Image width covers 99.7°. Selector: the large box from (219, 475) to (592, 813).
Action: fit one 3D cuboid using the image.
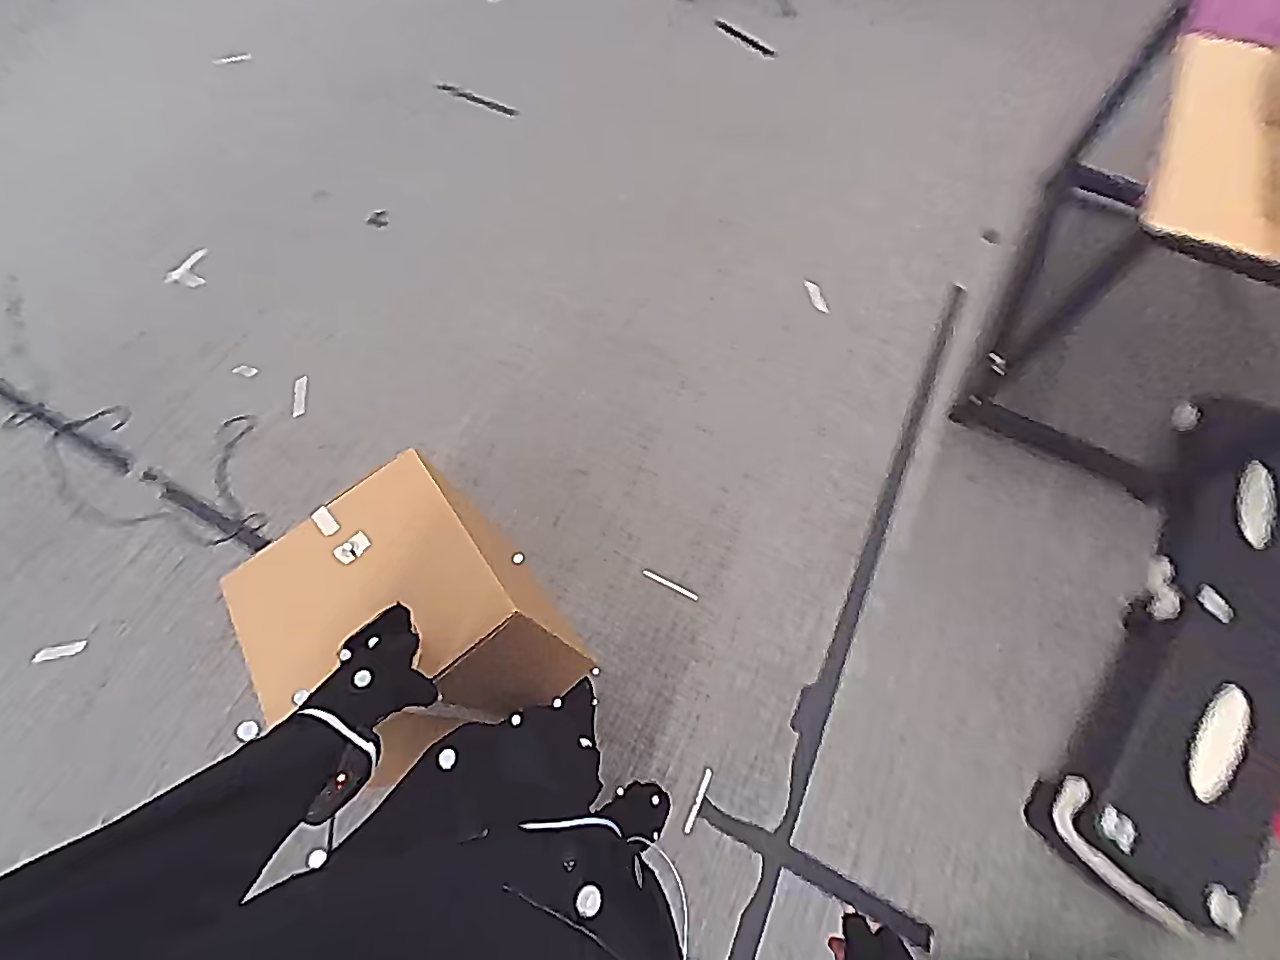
[{"bbox_3d":[-0.329,0.259,0.855,0.320,0.408,0.320,-38,64,-10],"label":"large box"}]
